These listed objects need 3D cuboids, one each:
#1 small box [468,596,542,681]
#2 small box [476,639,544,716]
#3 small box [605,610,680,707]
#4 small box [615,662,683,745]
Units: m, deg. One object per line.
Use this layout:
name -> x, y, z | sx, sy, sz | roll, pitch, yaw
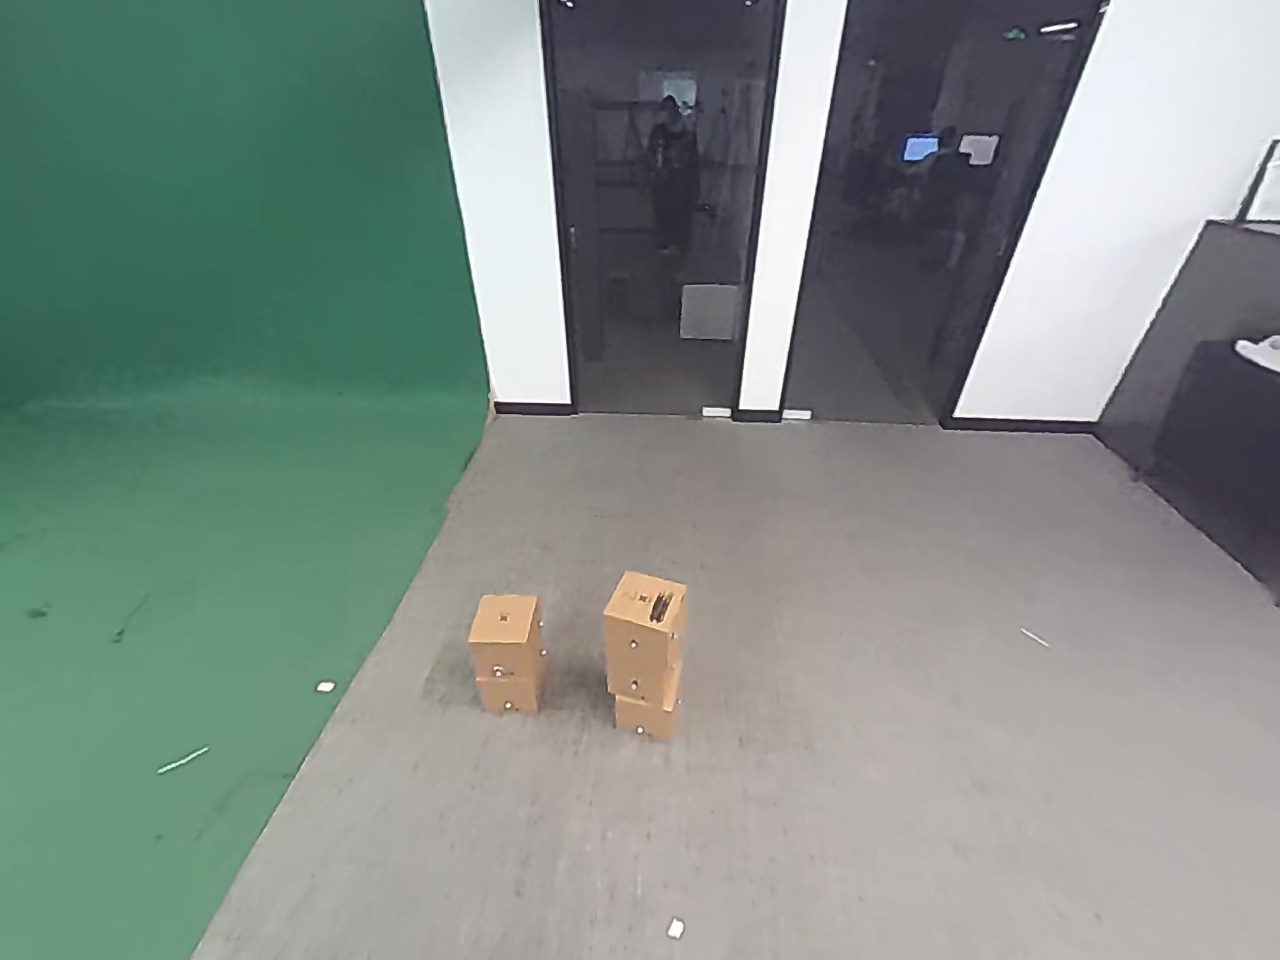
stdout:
small box -> -0.386, 0.461, 1.577 | 0.168, 0.176, 0.179 | -1, 35, 1
small box -> -0.394, 0.598, 1.665 | 0.168, 0.176, 0.179 | 0, 35, 0
small box -> 0.011, 0.504, 1.521 | 0.168, 0.176, 0.179 | 11, 37, 15
small box -> 0.027, 0.645, 1.602 | 0.168, 0.176, 0.179 | 8, 36, 12
